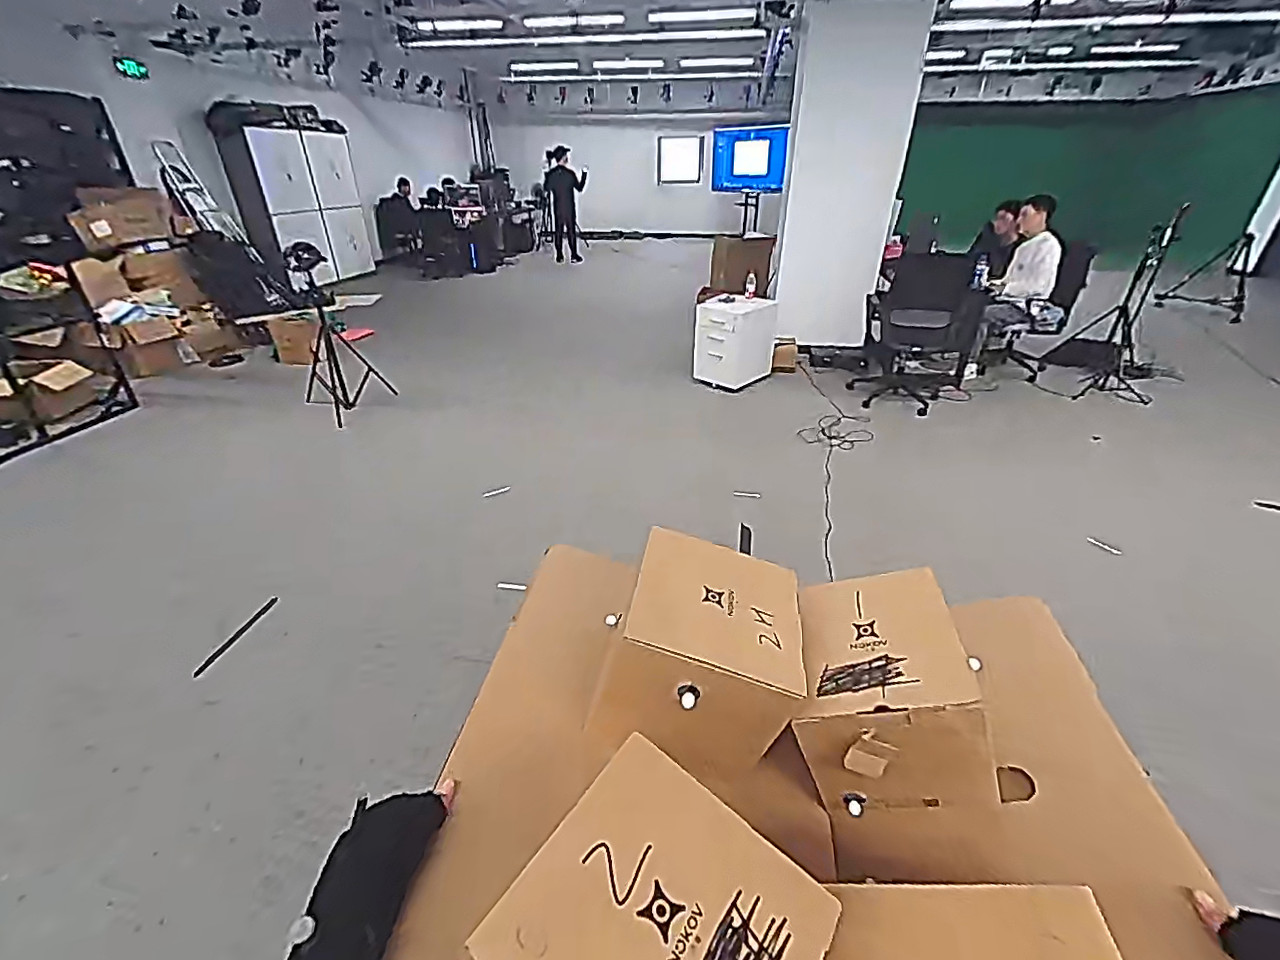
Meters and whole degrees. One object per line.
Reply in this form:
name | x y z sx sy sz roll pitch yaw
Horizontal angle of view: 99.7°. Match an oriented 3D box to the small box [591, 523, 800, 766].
small box | 0.058 0.182 0.598 0.179 0.176 0.168 19 35 0
